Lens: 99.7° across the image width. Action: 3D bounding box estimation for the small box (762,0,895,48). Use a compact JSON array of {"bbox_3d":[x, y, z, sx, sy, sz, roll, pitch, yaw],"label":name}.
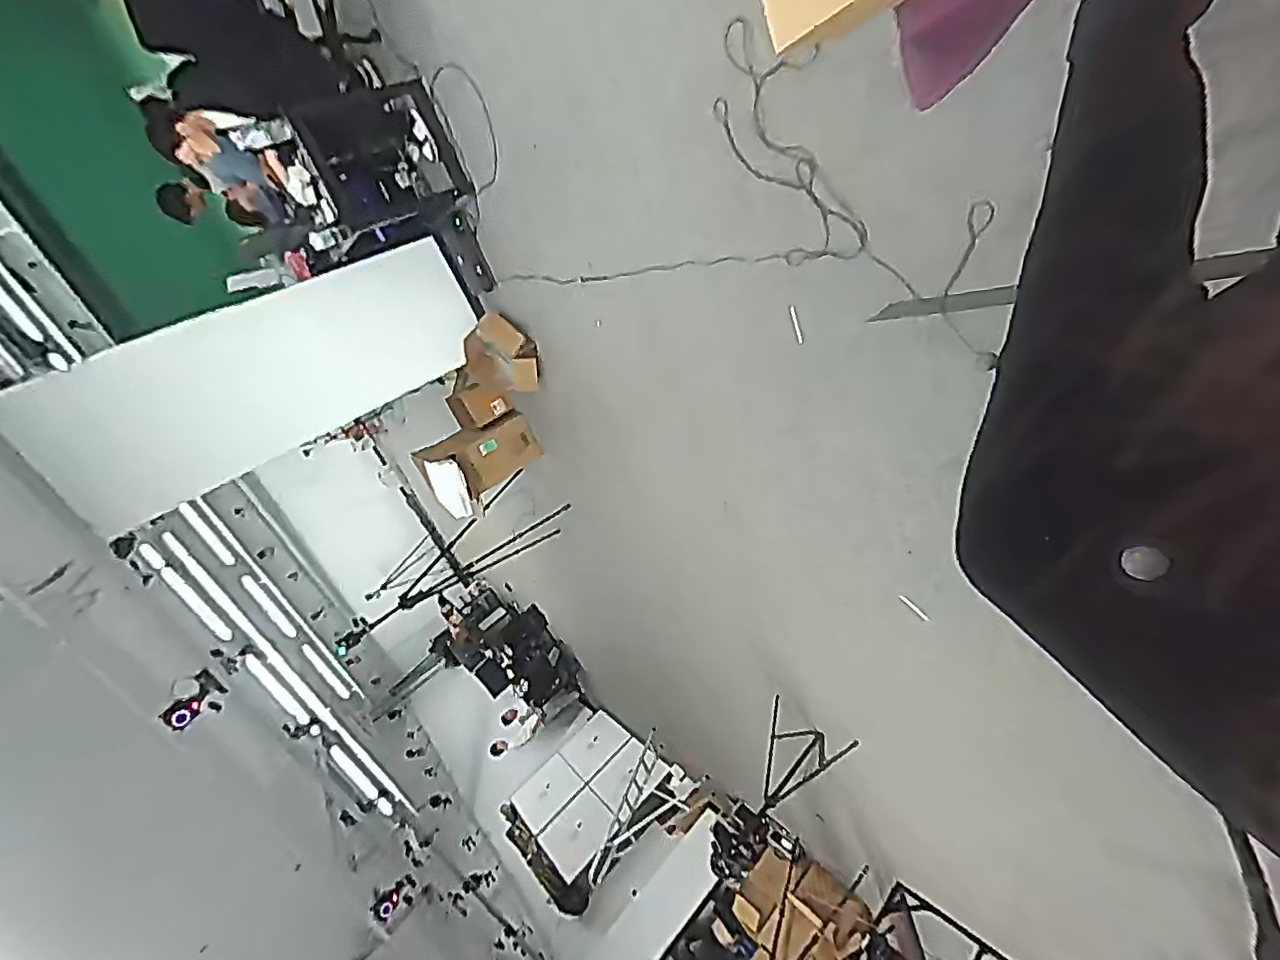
[{"bbox_3d":[0.245,-0.631,0.605,0.179,0.176,0.168,8,129,53],"label":"small box"}]
